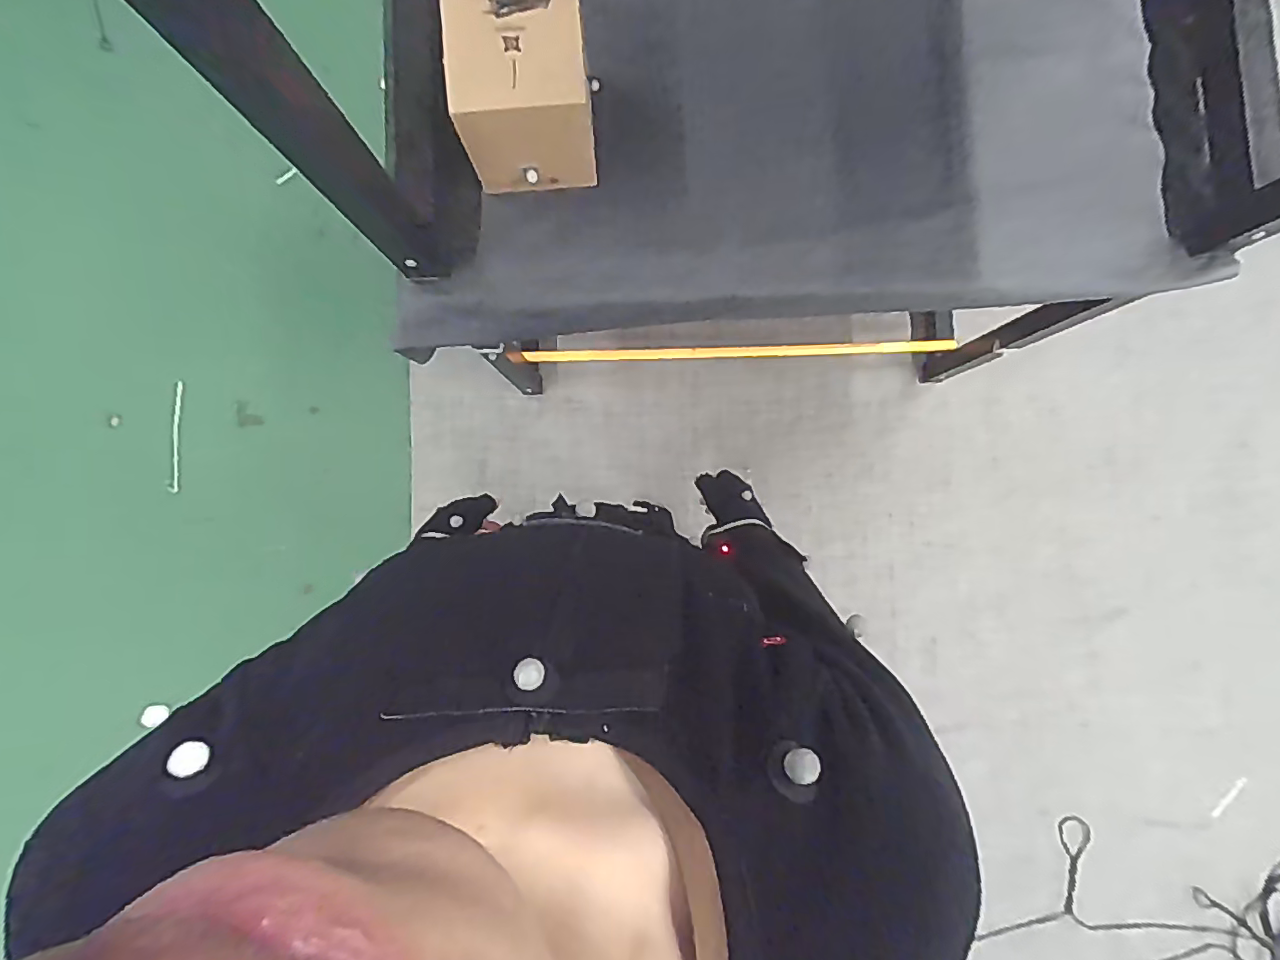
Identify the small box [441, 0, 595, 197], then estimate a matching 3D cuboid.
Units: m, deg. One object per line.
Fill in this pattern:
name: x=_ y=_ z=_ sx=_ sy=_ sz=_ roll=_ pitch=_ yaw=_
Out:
small box: x=-0.152 y=-0.511 z=0.717 sx=0.168 sy=0.176 sz=0.179 roll=-5 pitch=87 yaw=0
